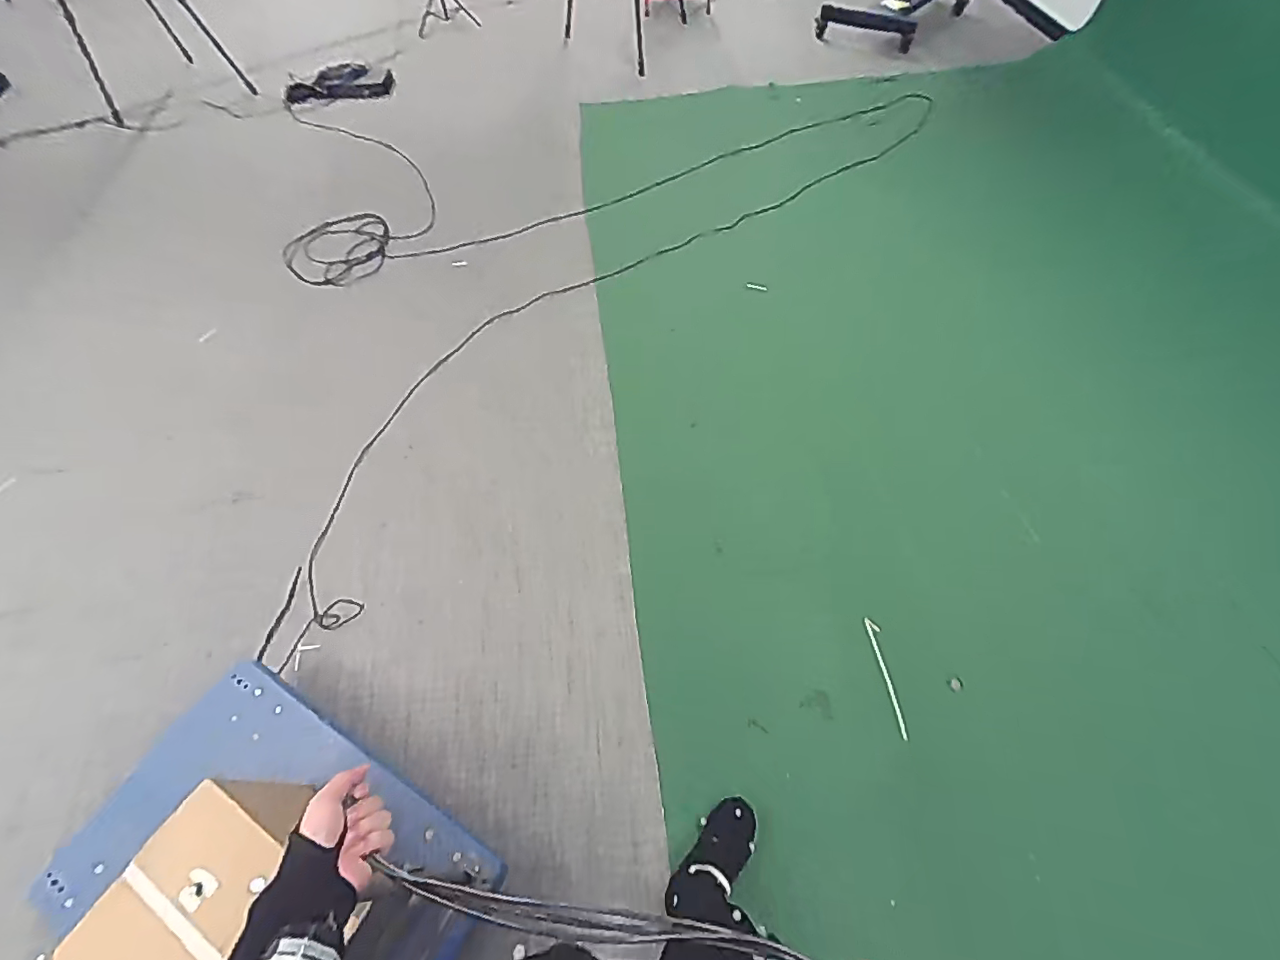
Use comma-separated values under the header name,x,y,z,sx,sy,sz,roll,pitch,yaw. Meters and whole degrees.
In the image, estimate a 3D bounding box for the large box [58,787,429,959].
name,x,y,z,sx,sy,sz,roll,pitch,yaw
large box,-0.677,0.823,0.974,0.408,0.320,0.320,25,62,19
